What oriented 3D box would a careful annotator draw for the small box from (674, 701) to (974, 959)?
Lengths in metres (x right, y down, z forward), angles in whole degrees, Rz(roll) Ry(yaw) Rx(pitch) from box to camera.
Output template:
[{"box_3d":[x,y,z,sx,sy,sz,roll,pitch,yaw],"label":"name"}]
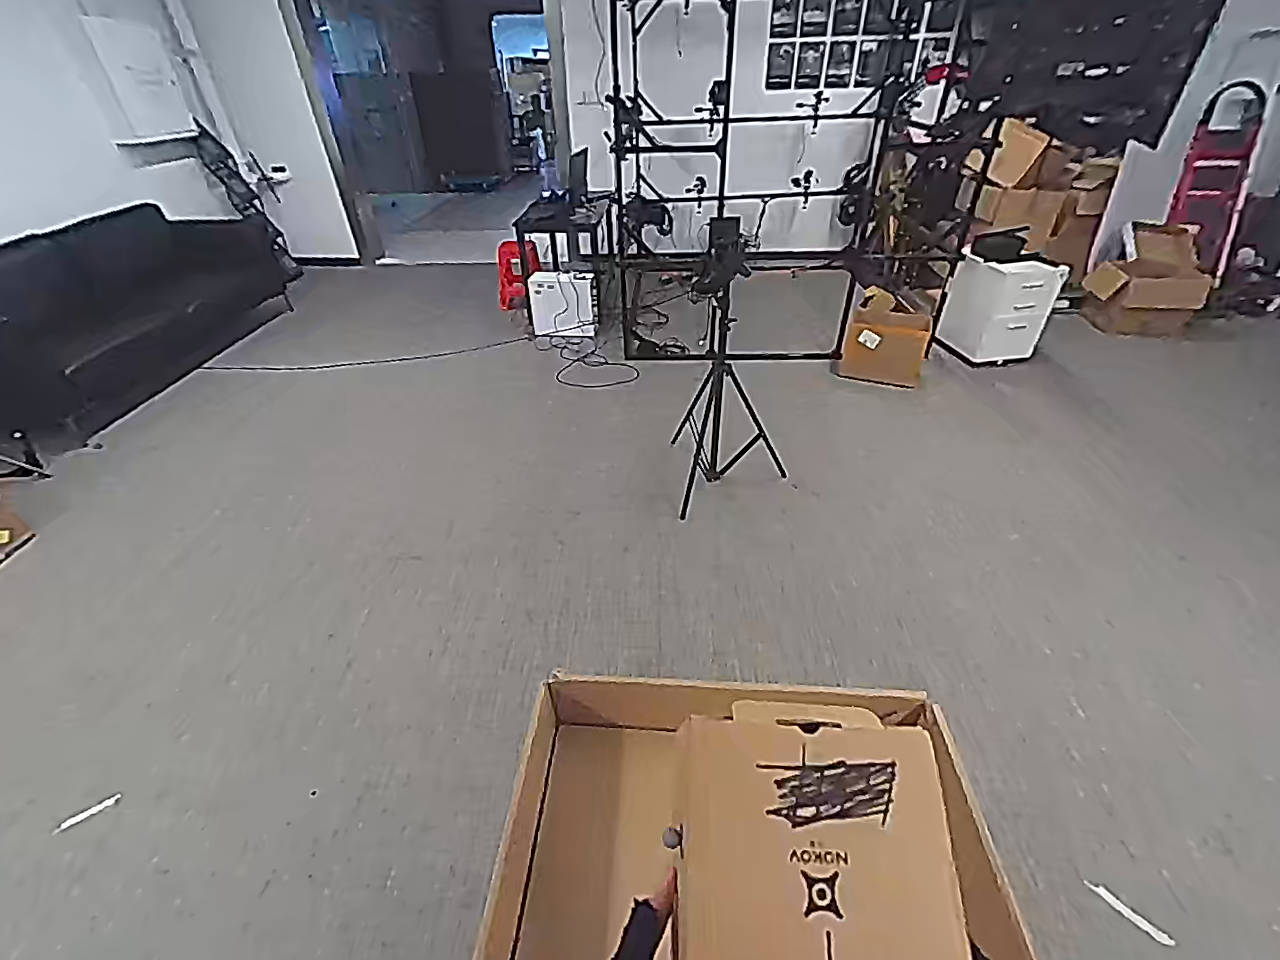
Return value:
[{"box_3d":[0.112,0.276,0.406,0.168,0.176,0.179,2,60,1],"label":"small box"}]
